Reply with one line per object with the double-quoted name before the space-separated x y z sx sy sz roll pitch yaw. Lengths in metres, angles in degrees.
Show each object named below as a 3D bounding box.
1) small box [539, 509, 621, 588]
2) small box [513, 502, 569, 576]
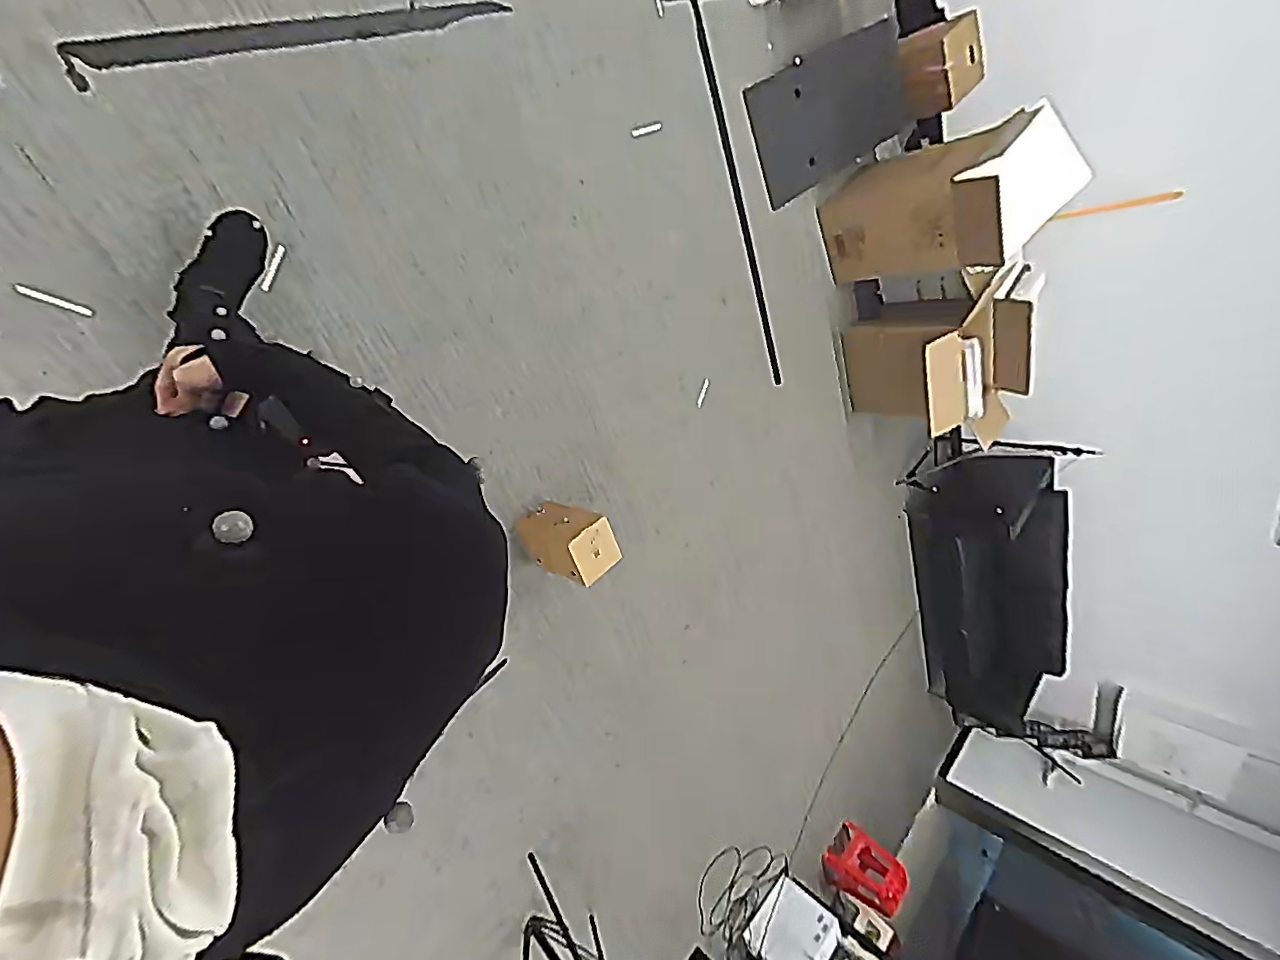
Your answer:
"small box" -0.195 0.215 1.751 0.168 0.176 0.179 -37 121 -32
"small box" -0.308 0.198 1.870 0.168 0.176 0.179 -37 121 -32
